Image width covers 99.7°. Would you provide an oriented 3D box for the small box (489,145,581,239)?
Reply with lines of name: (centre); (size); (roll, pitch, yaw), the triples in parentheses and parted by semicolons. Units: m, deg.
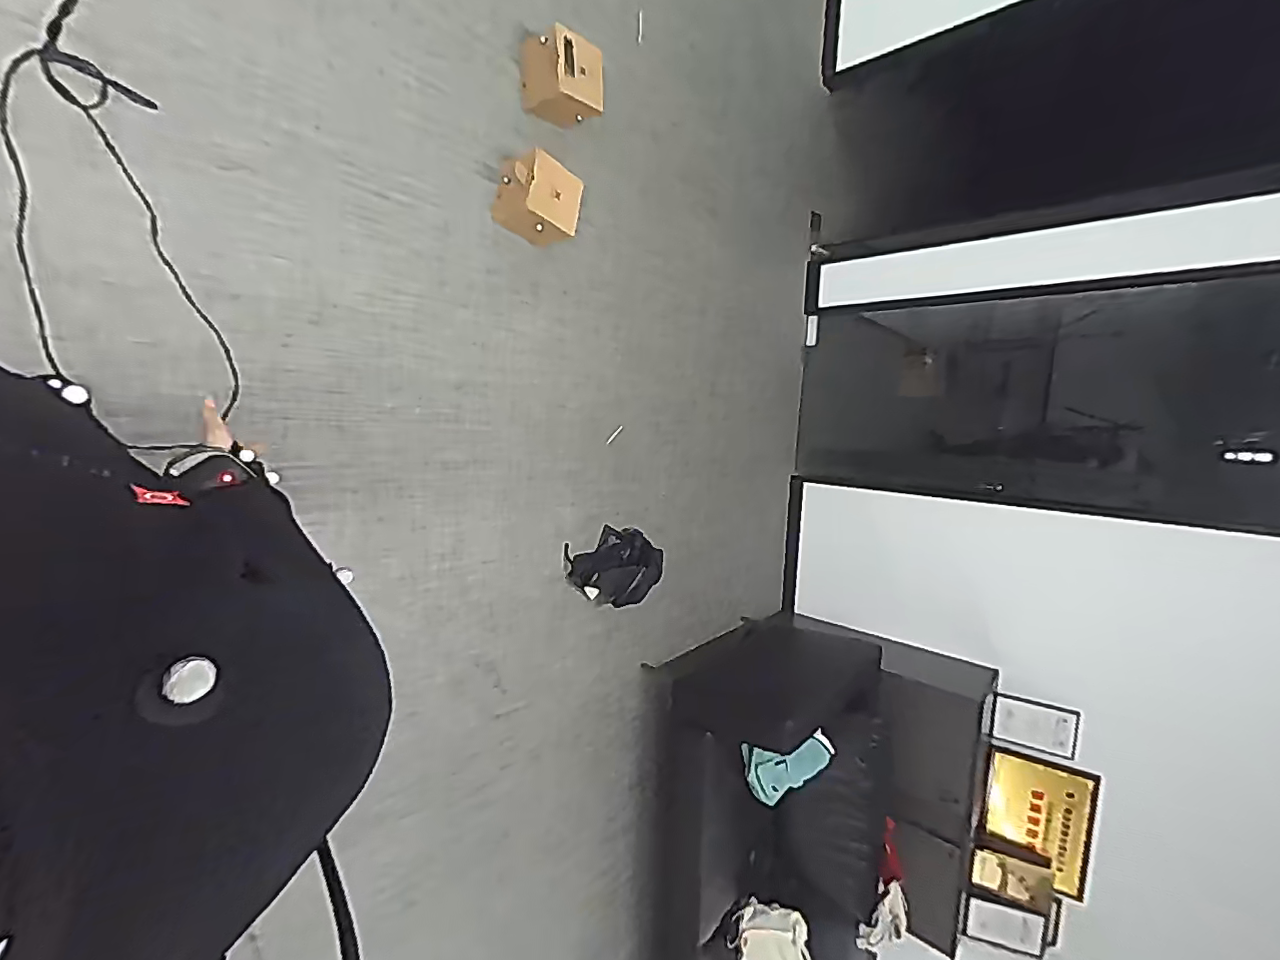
small box: (-0.299, -0.807, 1.541); (0.179, 0.176, 0.168); (11, 89, -49)
